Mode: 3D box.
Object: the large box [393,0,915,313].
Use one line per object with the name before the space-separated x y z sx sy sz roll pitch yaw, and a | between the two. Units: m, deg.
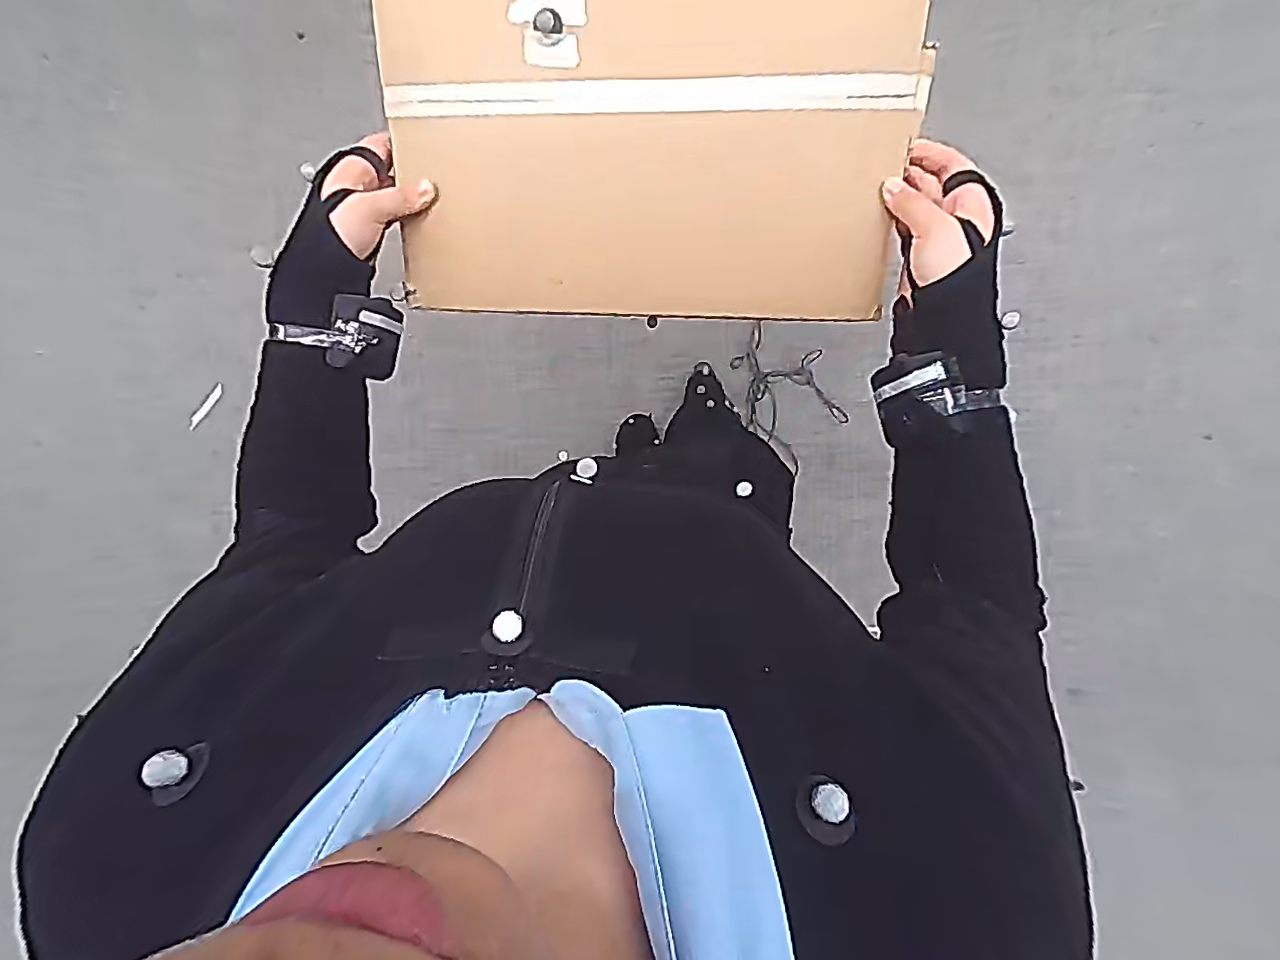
large box | 0.021 -0.340 0.566 0.408 0.320 0.320 3 107 7
